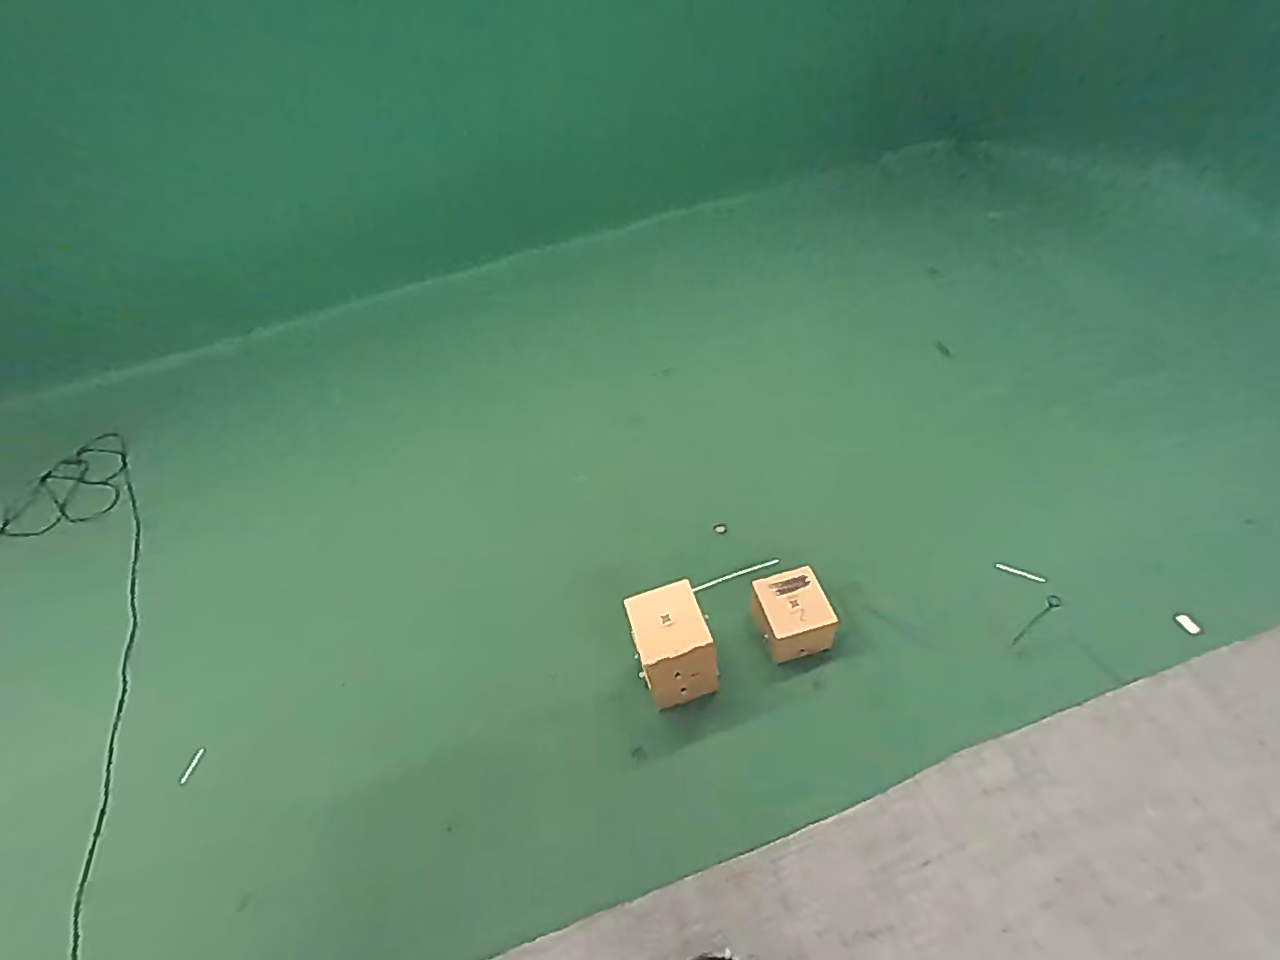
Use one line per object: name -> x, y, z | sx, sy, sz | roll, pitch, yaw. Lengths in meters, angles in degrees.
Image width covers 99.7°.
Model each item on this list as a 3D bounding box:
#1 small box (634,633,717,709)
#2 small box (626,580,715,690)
small box -> 0.097, 0.481, 1.435 | 0.179, 0.176, 0.168 | -19, 49, -4
small box -> 0.075, 0.378, 1.311 | 0.168, 0.176, 0.179 | -18, 49, -4
